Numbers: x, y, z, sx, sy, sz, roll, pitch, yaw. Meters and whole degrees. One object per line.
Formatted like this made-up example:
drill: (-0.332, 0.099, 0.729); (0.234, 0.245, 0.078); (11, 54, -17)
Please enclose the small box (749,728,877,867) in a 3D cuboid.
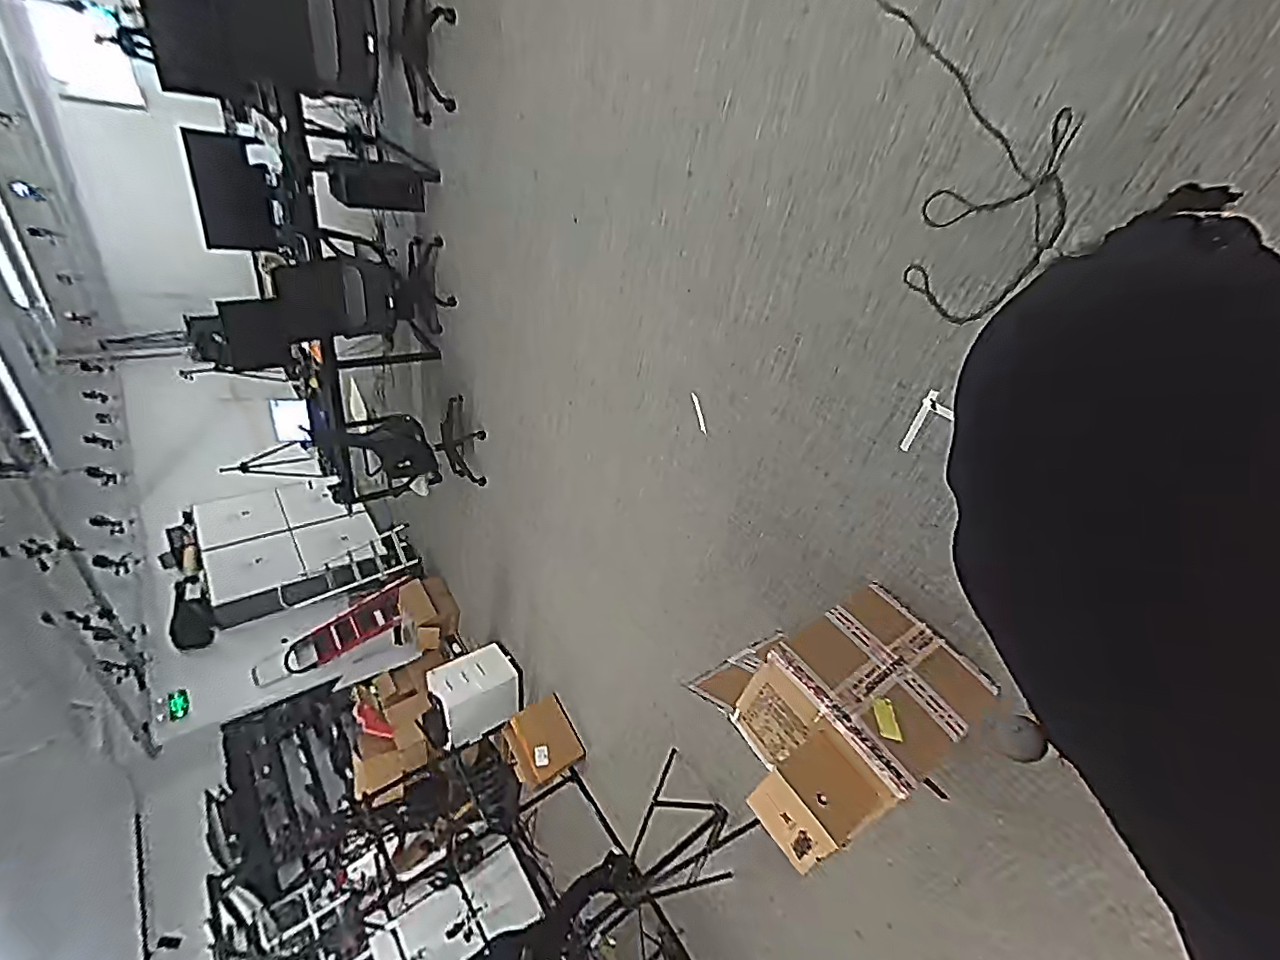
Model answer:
small box: (0.381, 0.690, 1.189); (0.179, 0.176, 0.168); (47, 134, 32)
